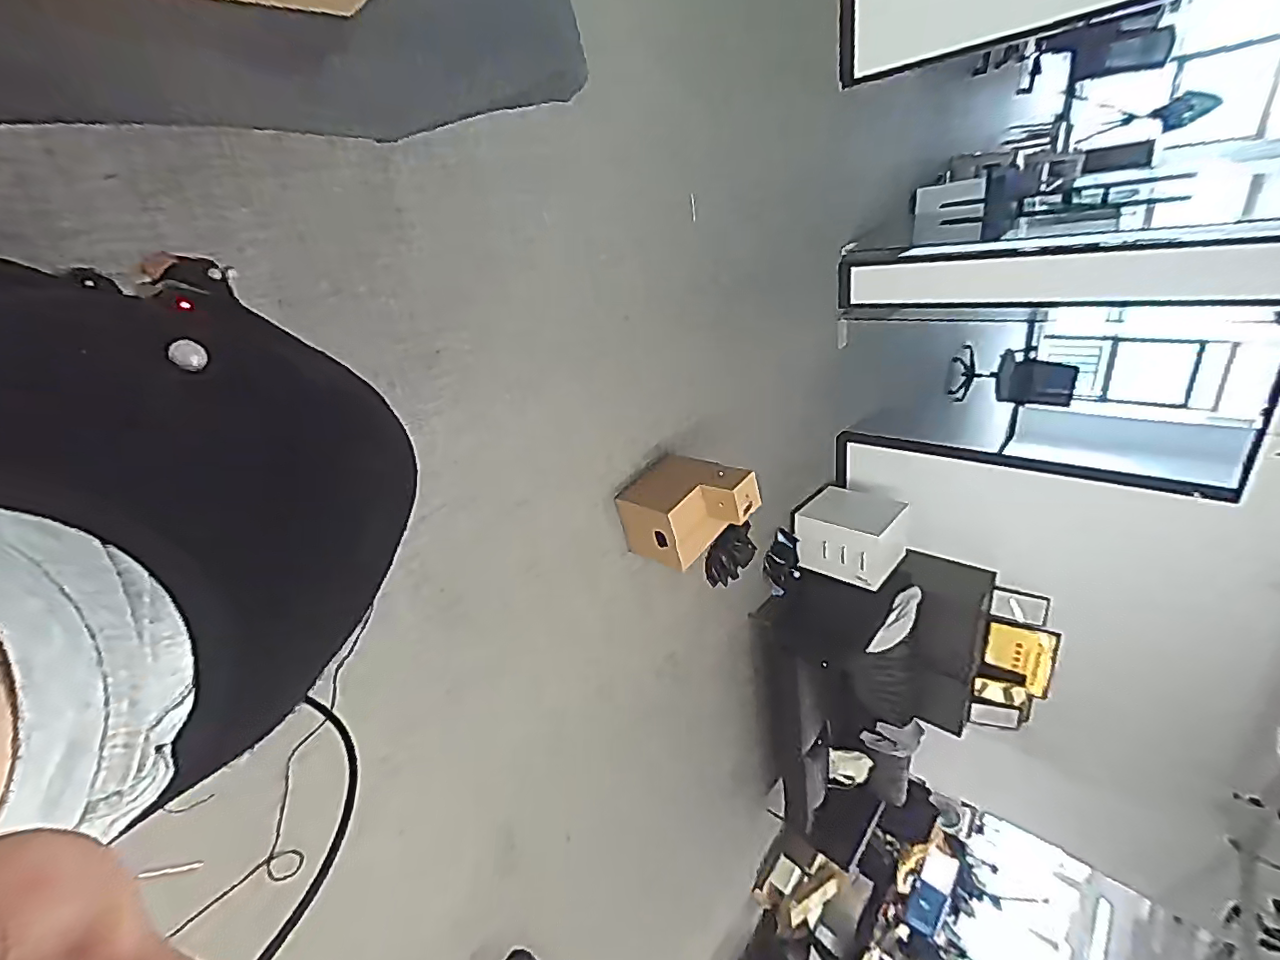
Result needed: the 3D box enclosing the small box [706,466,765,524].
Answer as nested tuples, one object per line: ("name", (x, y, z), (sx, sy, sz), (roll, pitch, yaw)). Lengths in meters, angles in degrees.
("small box", (0.403, 0.058, 2.292), (0.168, 0.176, 0.179), (-39, 123, -34))
